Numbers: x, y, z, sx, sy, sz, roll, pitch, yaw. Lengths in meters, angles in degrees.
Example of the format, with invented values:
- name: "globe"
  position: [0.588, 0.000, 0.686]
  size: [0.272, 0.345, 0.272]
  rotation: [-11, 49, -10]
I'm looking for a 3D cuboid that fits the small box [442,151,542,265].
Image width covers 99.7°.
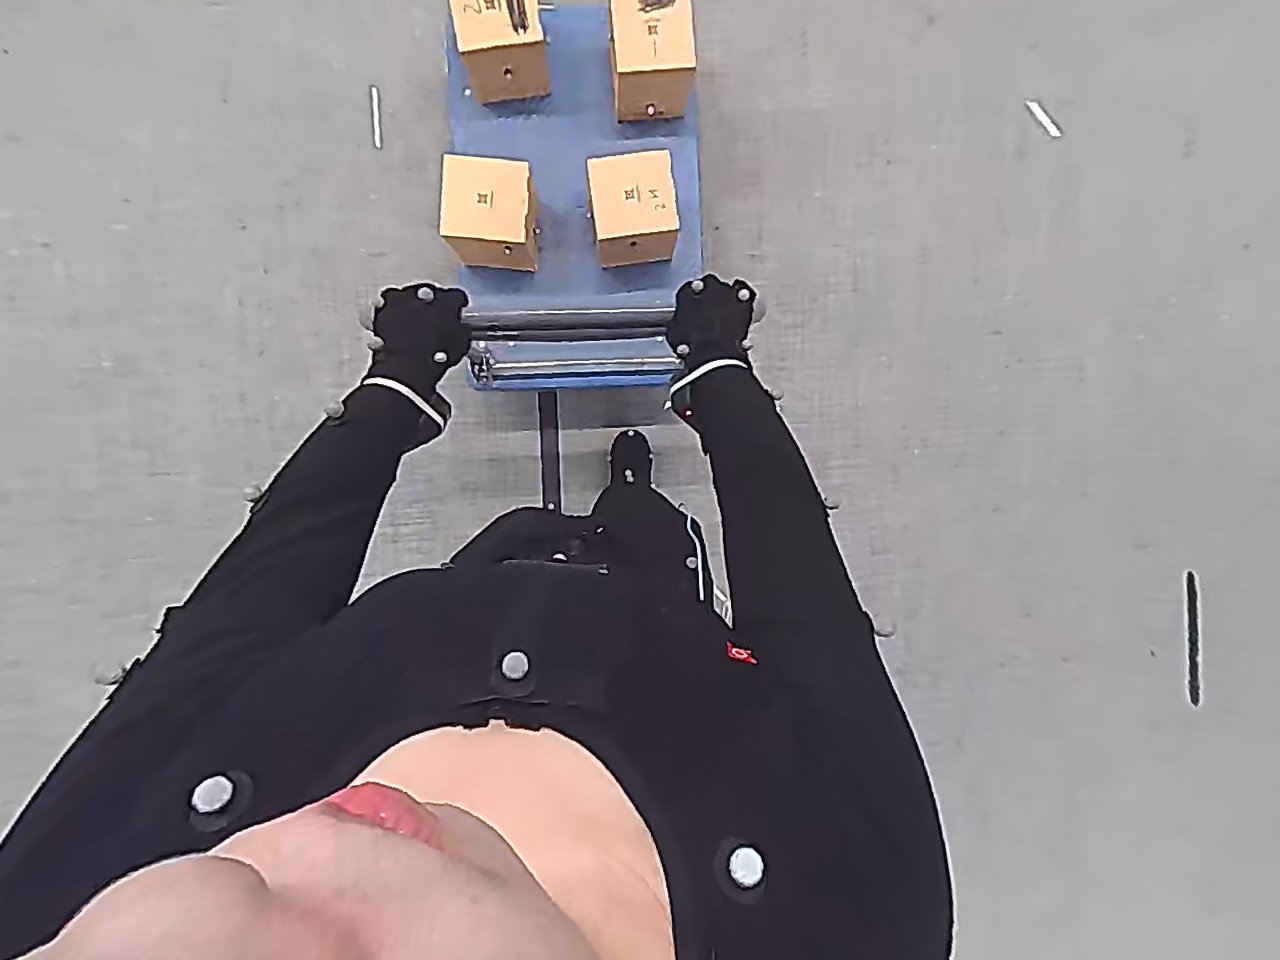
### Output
- name: "small box"
  position: [-0.319, -0.588, 1.189]
  size: [0.179, 0.176, 0.168]
  rotation: [4, 92, -4]

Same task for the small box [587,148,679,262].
- name: "small box"
  position: [-0.015, -0.601, 1.201]
  size: [0.179, 0.176, 0.168]
  rotation: [-8, 93, -2]

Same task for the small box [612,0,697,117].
- name: "small box"
  position: [0.026, -0.938, 1.186]
  size: [0.168, 0.176, 0.179]
  rotation: [-5, 94, -2]
